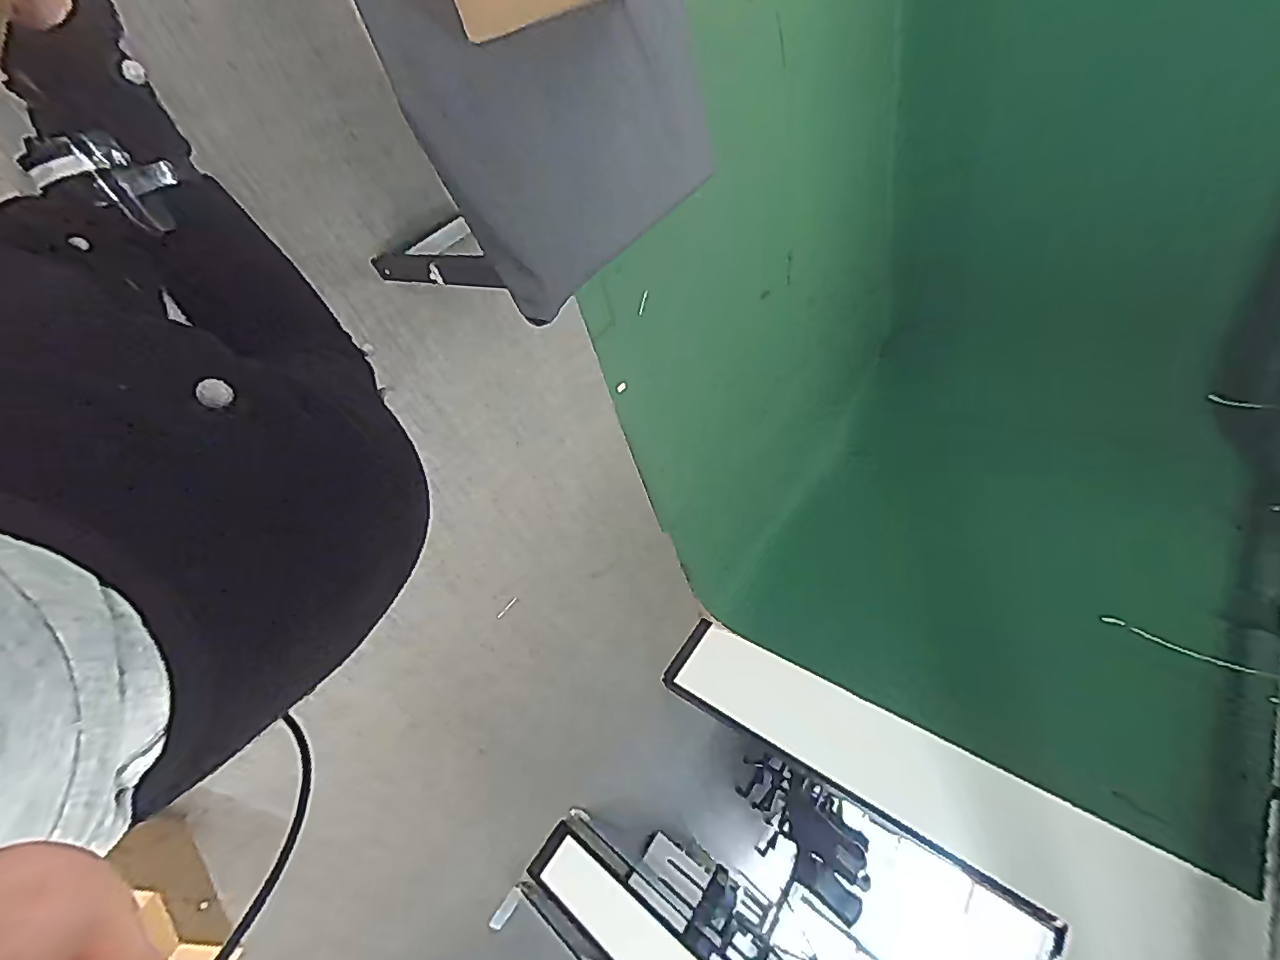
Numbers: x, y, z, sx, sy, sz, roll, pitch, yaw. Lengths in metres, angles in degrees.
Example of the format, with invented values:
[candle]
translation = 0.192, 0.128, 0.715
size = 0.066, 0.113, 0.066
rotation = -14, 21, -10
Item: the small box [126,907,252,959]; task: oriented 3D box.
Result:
[small box]
translation = -0.984, 1.065, 1.151
size = 0.179, 0.176, 0.168
rotation = -56, 142, -28
